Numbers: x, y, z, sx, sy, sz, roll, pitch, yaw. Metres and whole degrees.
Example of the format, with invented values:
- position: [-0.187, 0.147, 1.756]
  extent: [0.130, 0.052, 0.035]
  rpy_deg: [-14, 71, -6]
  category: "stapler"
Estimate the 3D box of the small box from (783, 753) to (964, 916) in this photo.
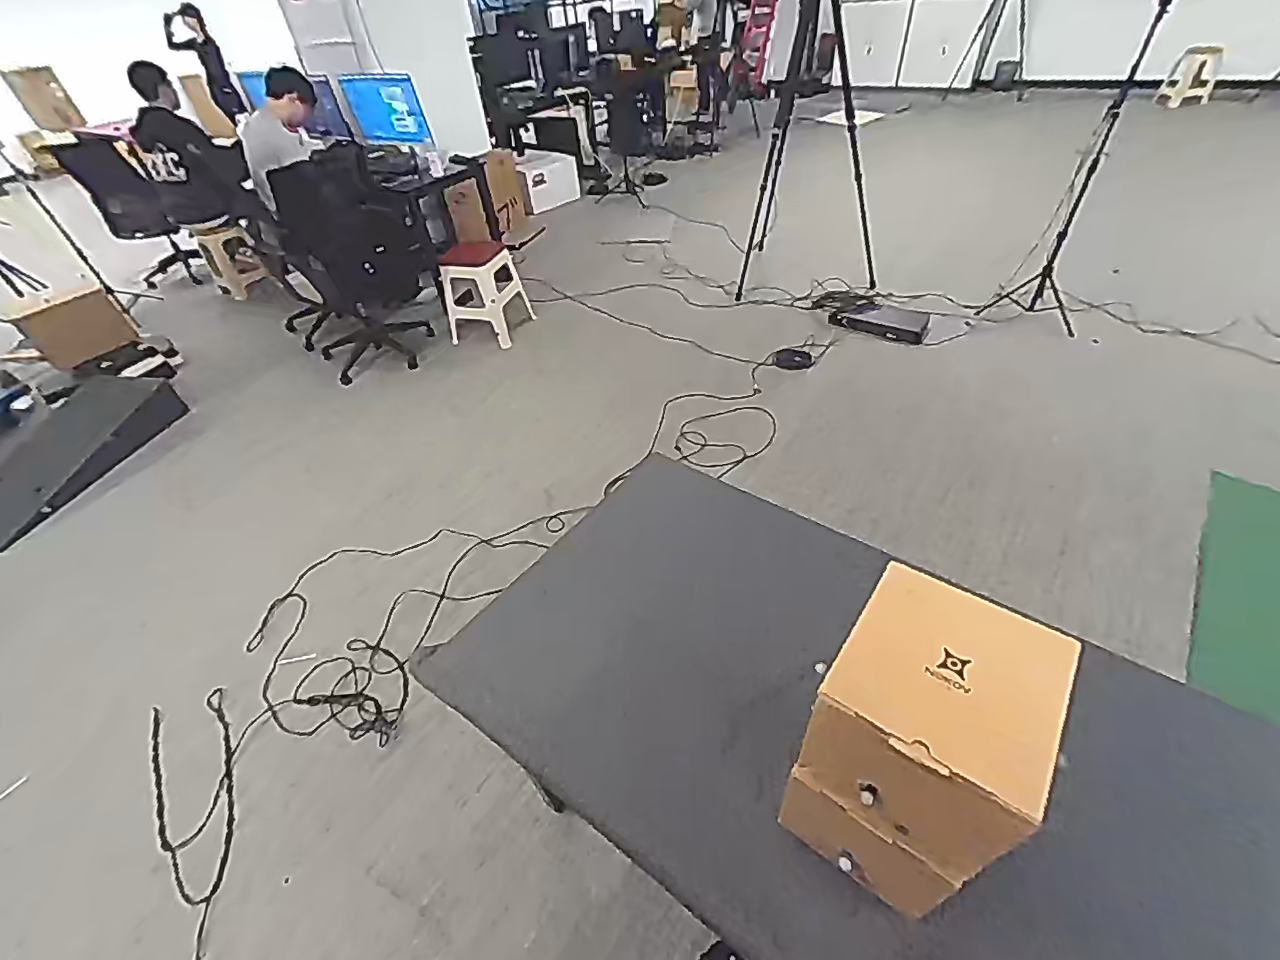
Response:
- position: [0.277, 0.345, 0.621]
  extent: [0.168, 0.176, 0.179]
  rpy_deg: [25, 51, 29]
  category: "small box"

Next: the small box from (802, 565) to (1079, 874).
- position: [0.270, 0.223, 0.515]
  extent: [0.168, 0.176, 0.179]
  rpy_deg: [26, 51, 29]
  category: "small box"
